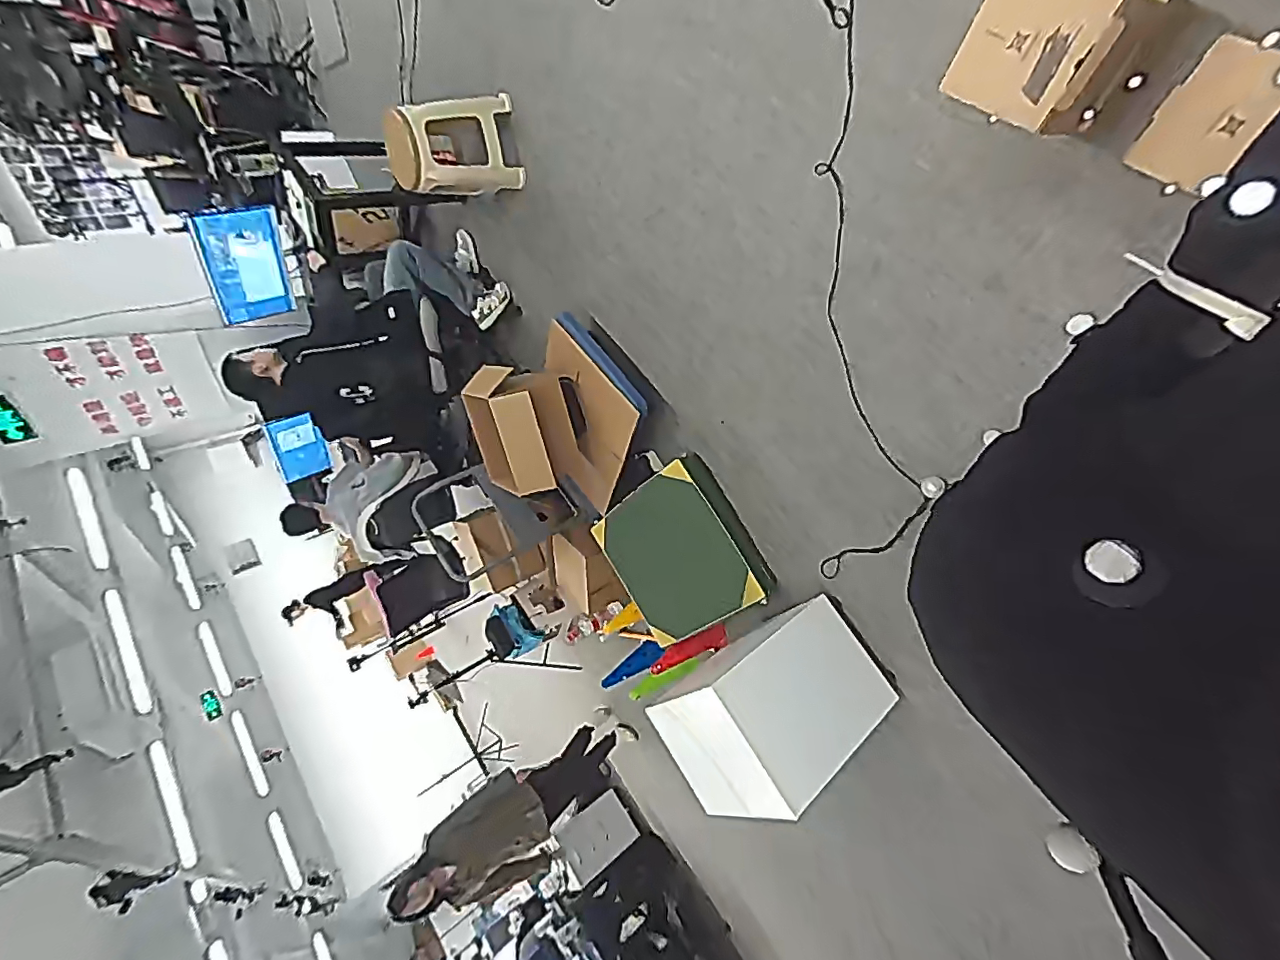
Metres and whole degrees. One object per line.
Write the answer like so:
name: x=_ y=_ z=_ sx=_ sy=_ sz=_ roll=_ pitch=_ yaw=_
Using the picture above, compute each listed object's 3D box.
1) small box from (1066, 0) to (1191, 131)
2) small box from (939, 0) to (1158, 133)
small box: x=0.739 y=-0.696 z=0.888 sx=0.168 sy=0.176 sz=0.179 roll=45 pitch=142 yaw=30
small box: x=0.605 y=-0.643 z=0.807 sx=0.179 sy=0.176 sz=0.168 roll=49 pitch=143 yaw=26
